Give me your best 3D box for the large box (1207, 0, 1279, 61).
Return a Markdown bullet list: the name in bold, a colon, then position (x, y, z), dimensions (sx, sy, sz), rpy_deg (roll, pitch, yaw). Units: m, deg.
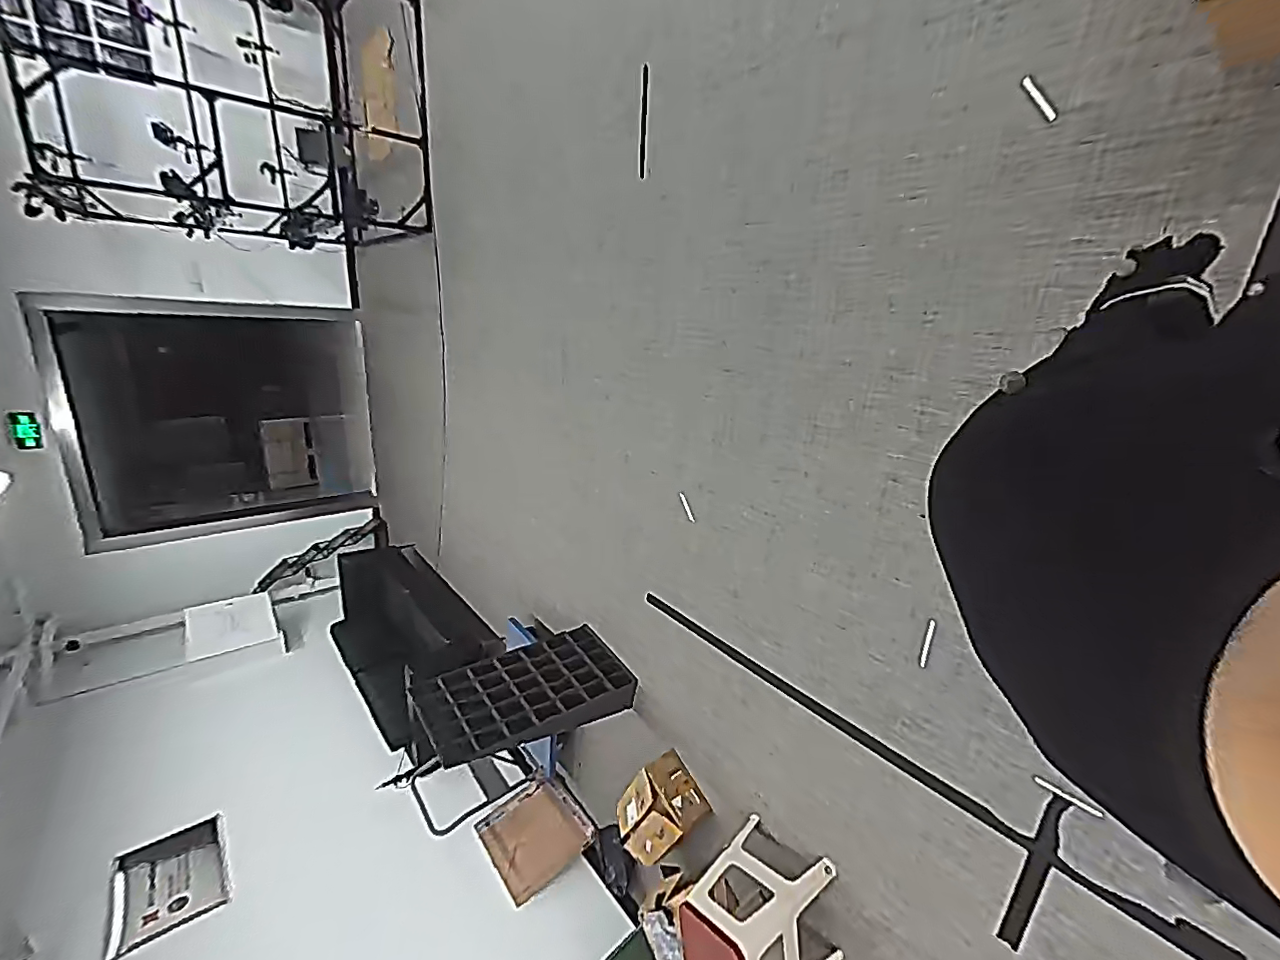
- **large box**: position (1.069, -0.834, 0.701), dimensions (0.408, 0.320, 0.320), rpy_deg (21, 115, 47)
